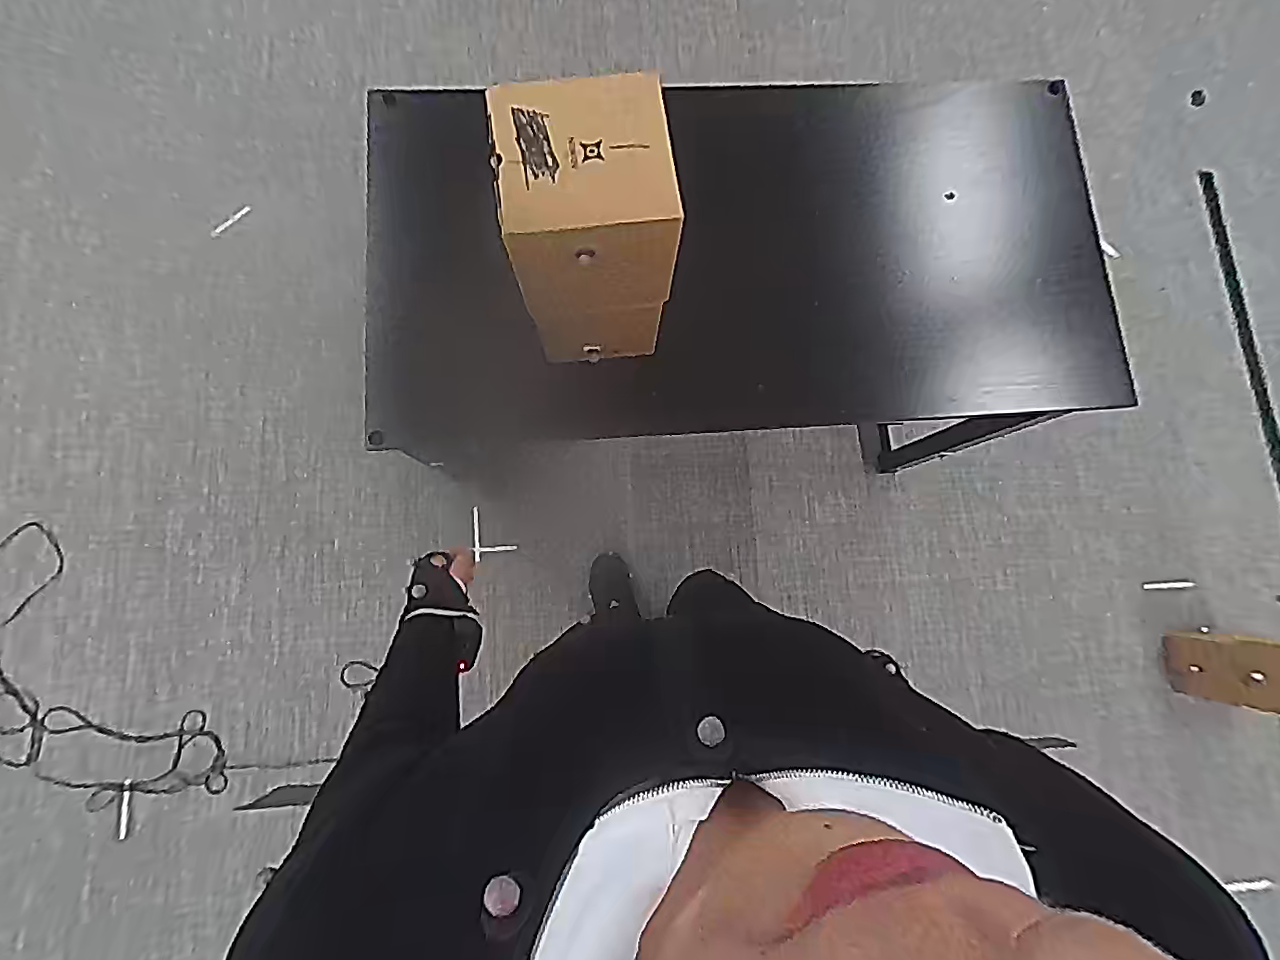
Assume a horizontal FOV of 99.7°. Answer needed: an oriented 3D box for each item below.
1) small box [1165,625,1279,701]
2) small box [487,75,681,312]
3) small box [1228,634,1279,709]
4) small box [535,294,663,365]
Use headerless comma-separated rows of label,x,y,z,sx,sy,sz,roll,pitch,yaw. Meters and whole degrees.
small box,1.593,0.493,1.473,0.179,0.176,0.168,-4,81,-3
small box,-0.059,-0.305,0.608,0.179,0.176,0.168,-8,81,-4
small box,1.604,0.468,1.309,0.179,0.176,0.168,1,81,-2
small box,-0.065,-0.283,0.771,0.168,0.176,0.179,-8,82,-3
